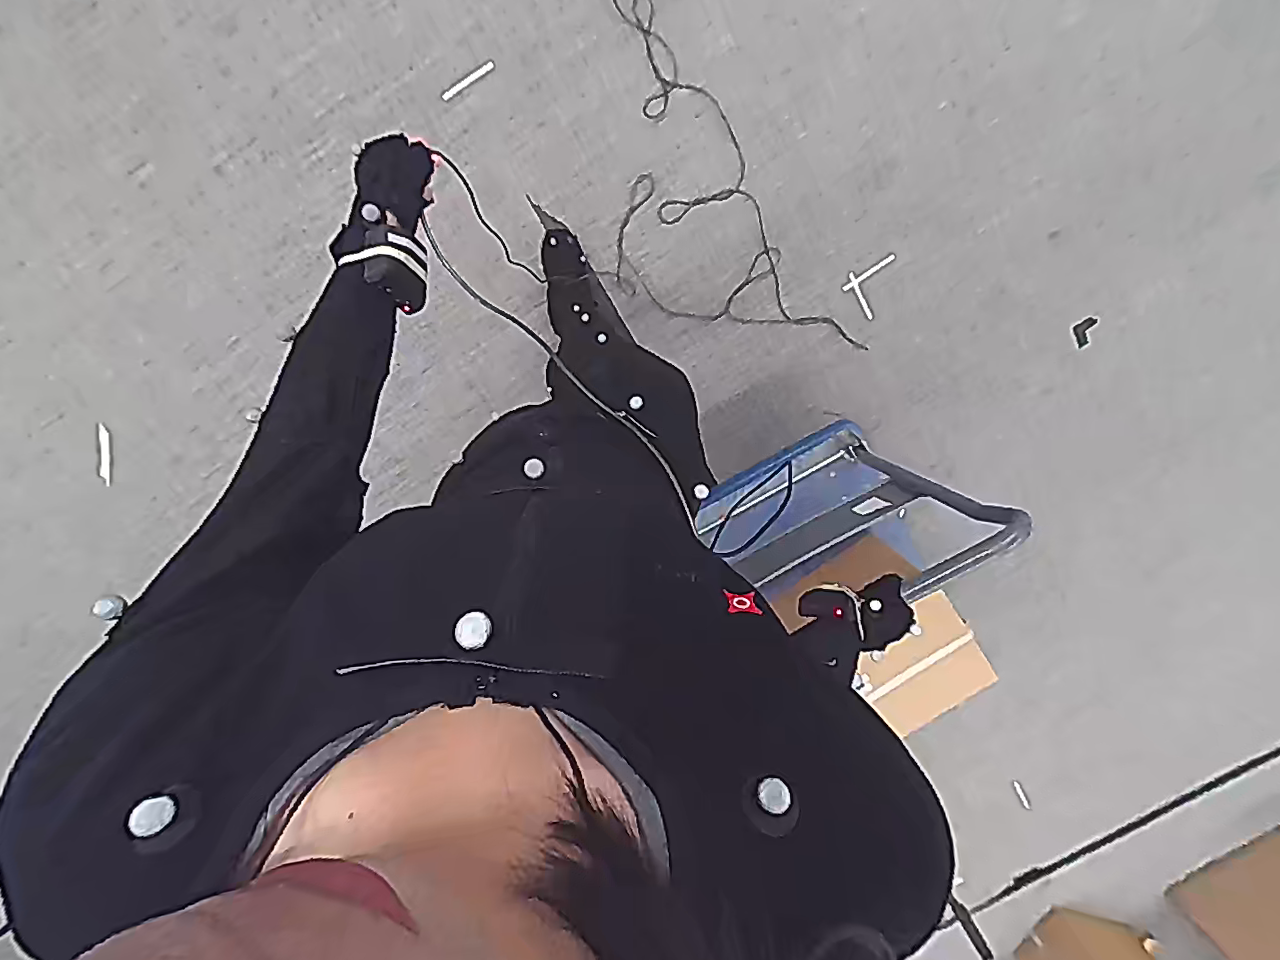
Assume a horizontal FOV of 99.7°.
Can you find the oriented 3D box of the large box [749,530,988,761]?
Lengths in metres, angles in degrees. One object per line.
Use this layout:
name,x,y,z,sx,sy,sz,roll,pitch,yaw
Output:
large box,0.553,0.402,1.374,0.408,0.320,0.320,-36,105,7
